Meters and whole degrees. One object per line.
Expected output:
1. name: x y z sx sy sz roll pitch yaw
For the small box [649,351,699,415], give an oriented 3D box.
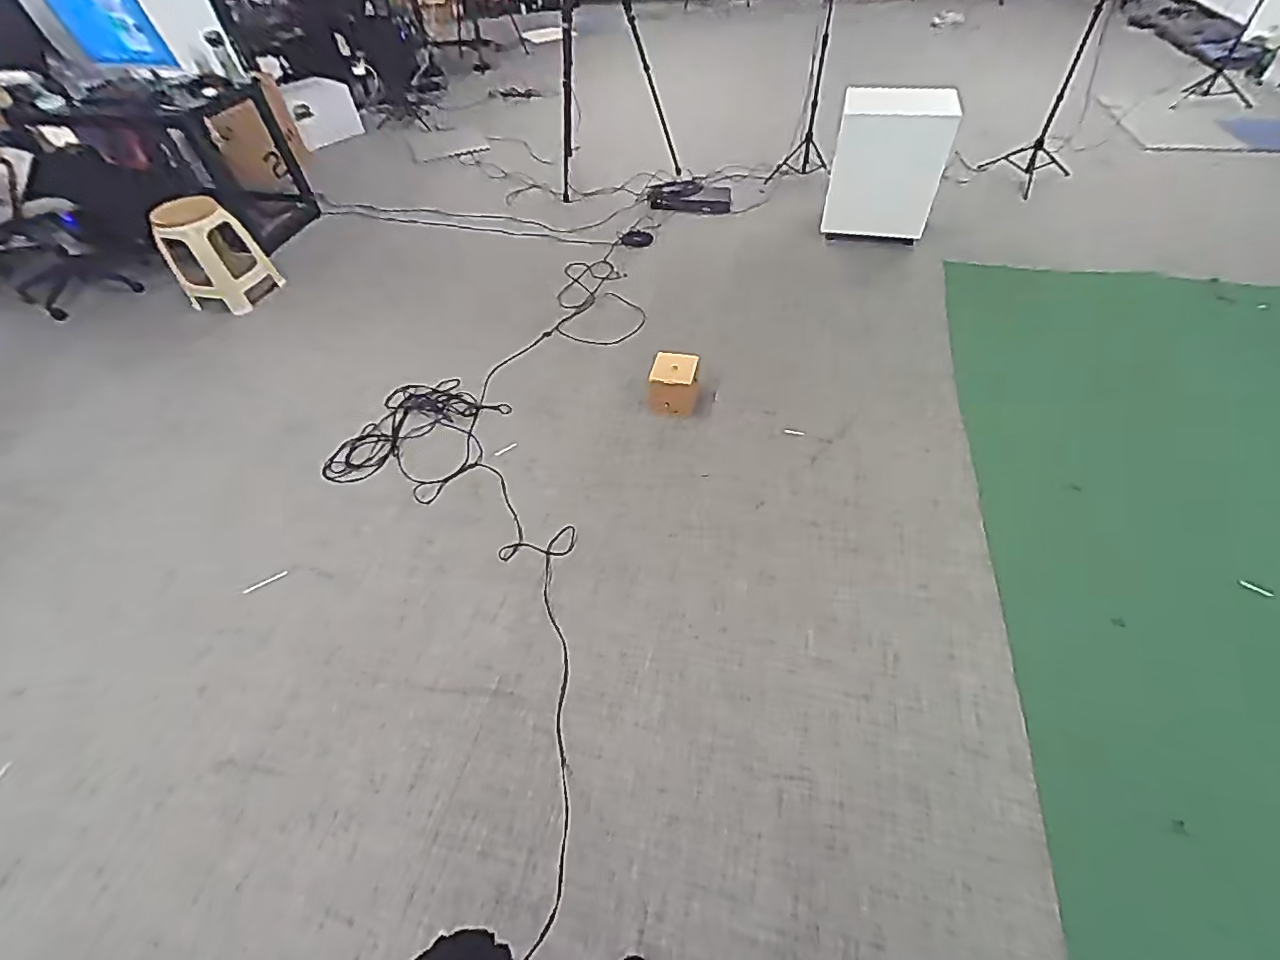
1. small box: 0.134 -0.383 2.134 0.168 0.176 0.179 8 51 12
